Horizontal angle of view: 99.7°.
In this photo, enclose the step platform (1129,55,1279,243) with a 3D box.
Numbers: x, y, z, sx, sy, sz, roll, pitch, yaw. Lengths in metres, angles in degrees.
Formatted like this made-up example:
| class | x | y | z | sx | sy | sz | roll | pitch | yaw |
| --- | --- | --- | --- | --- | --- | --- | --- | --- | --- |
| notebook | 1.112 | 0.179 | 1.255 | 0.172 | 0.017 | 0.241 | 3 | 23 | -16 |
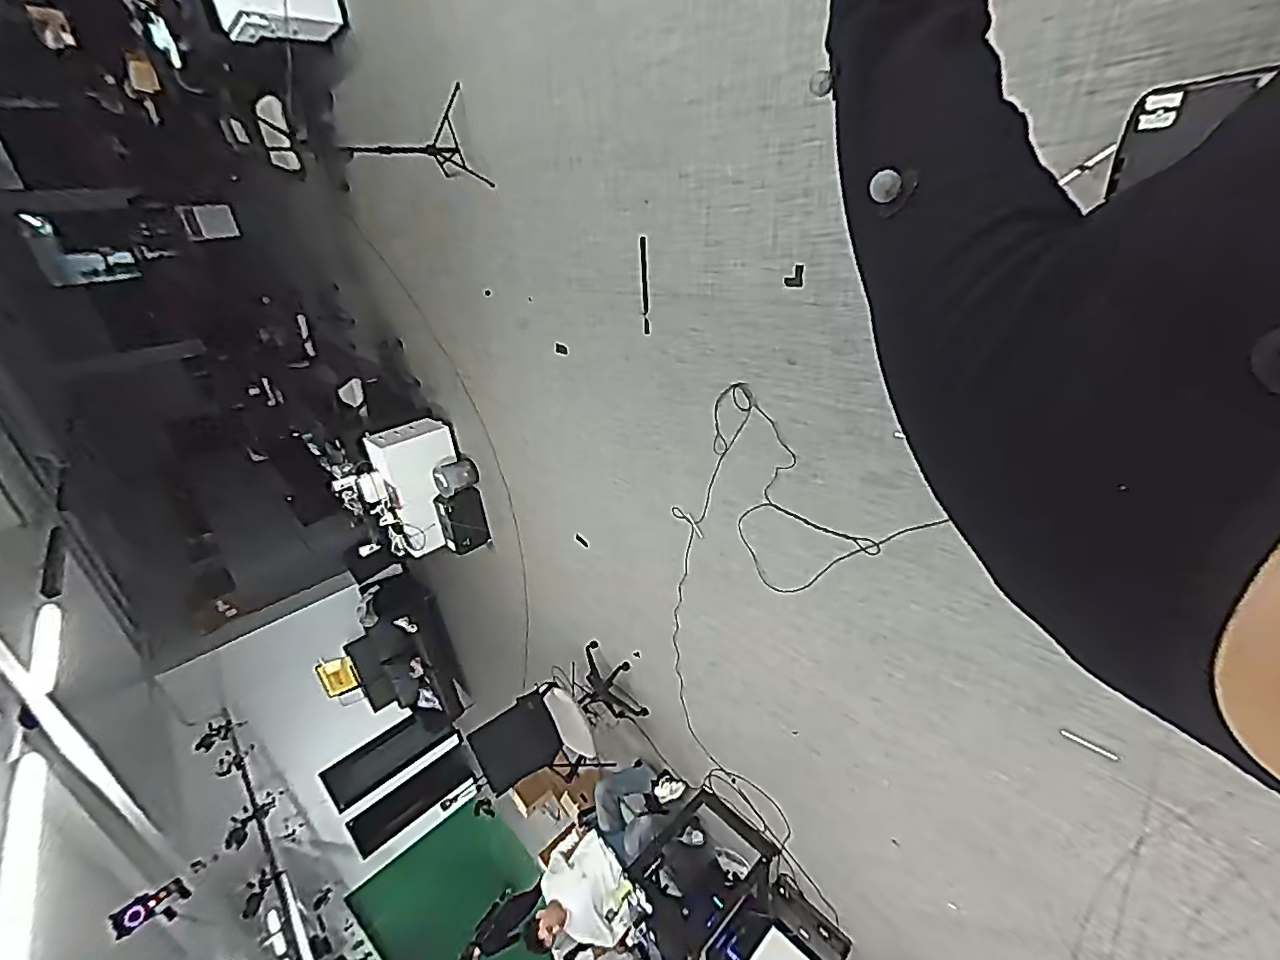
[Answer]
| class | x | y | z | sx | sy | sz | roll | pitch | yaw |
| --- | --- | --- | --- | --- | --- | --- | --- | --- | --- |
| step platform | 1.233 | -0.547 | 0.850 | 0.684 | 0.204 | 0.286 | 19 | 126 | 43 |
